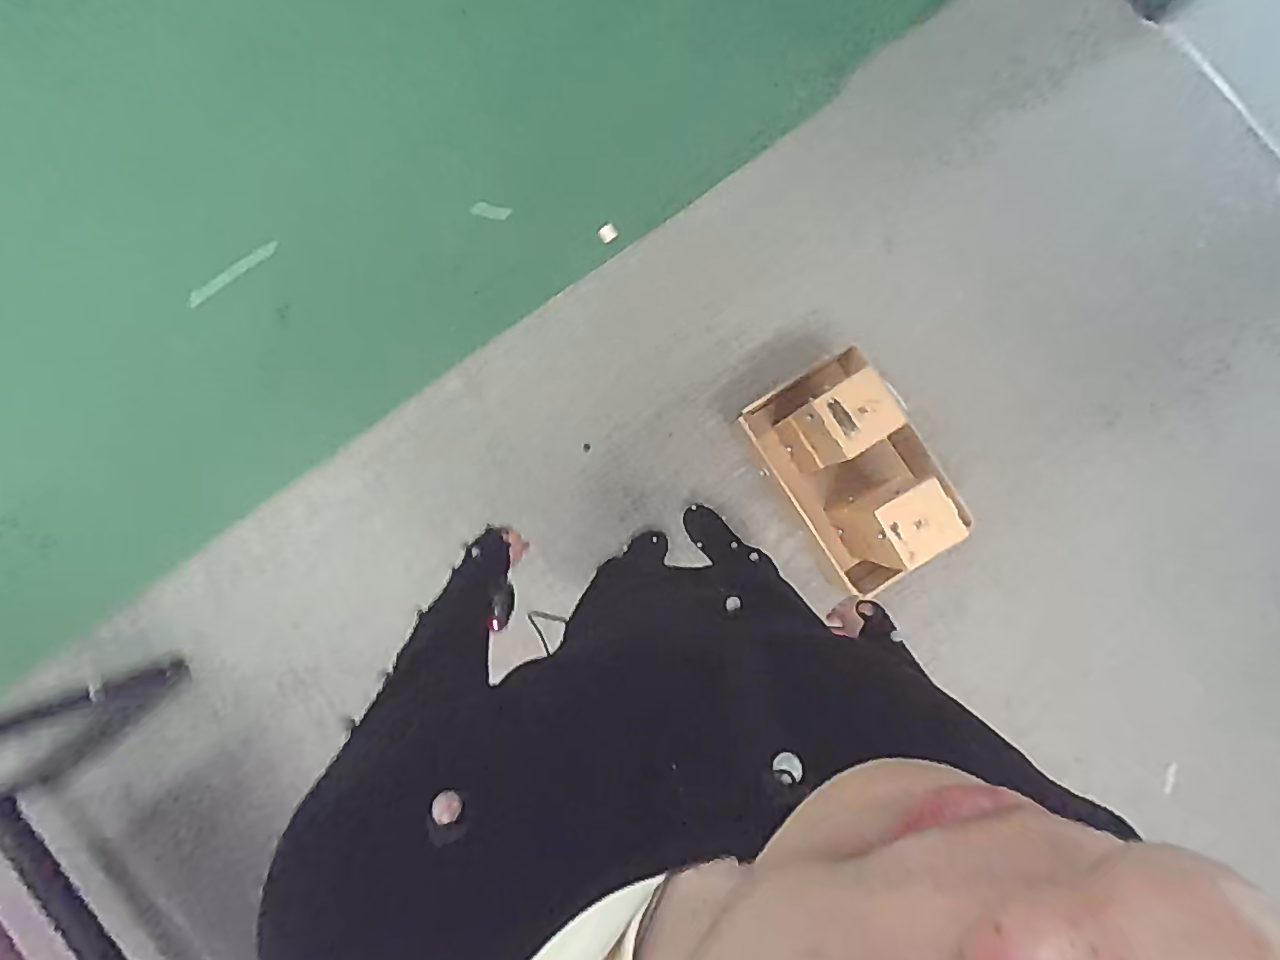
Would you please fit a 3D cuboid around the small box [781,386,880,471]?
[{"bbox_3d":[0.529,-0.139,1.523,0.179,0.176,0.168,-31,87,-3],"label":"small box"}]

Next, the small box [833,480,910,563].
[{"bbox_3d":[0.675,0.113,1.511,0.179,0.176,0.168,-30,87,-1],"label":"small box"}]

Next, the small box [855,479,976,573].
[{"bbox_3d":[0.676,0.111,1.346,0.179,0.176,0.168,-29,87,-2],"label":"small box"}]
